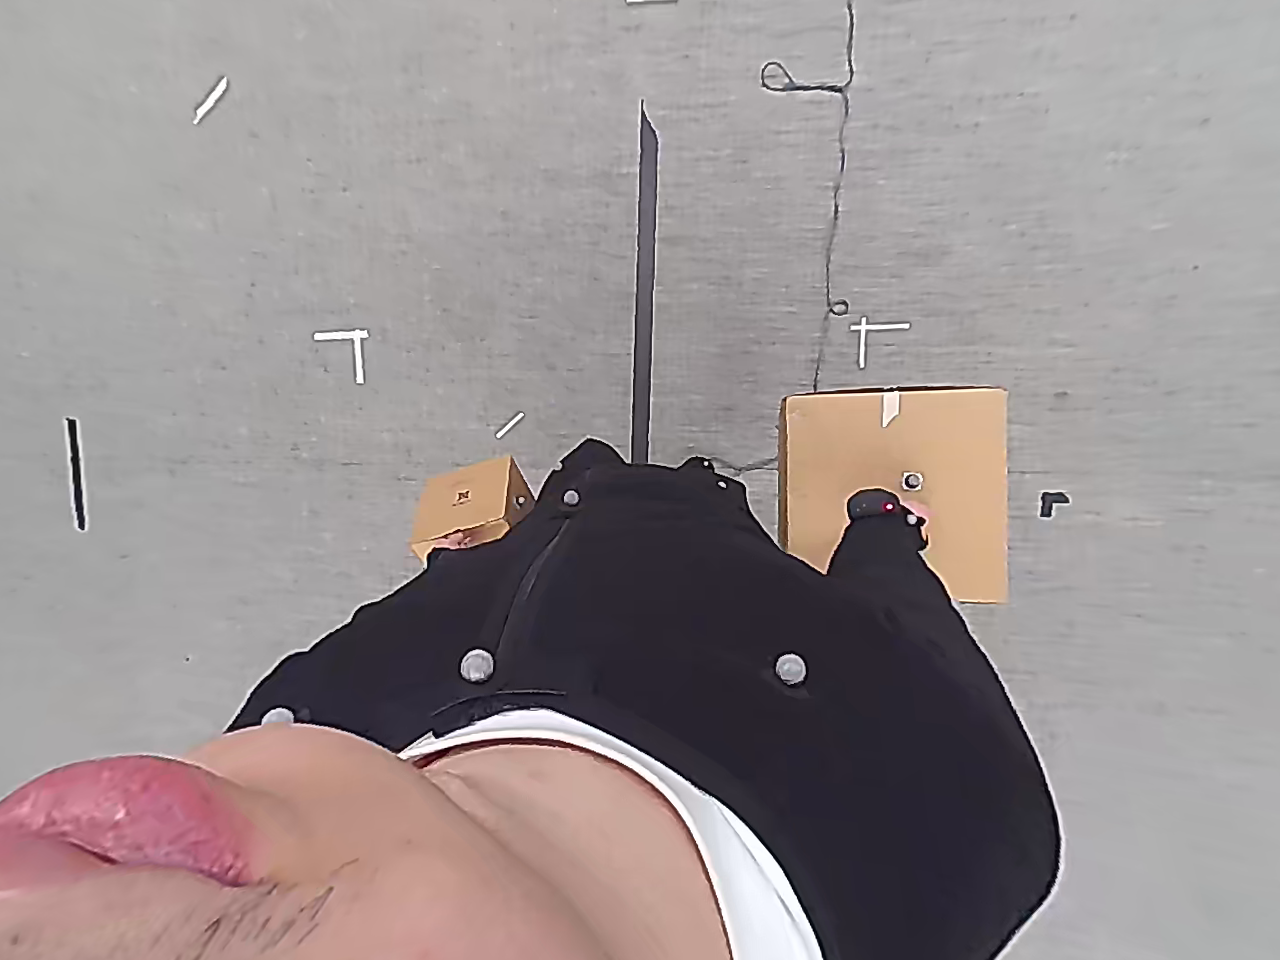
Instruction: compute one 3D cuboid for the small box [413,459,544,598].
[{"bbox_3d":[-0.283,0.096,0.988,0.168,0.179,0.176,-16,128,4],"label":"small box"}]
